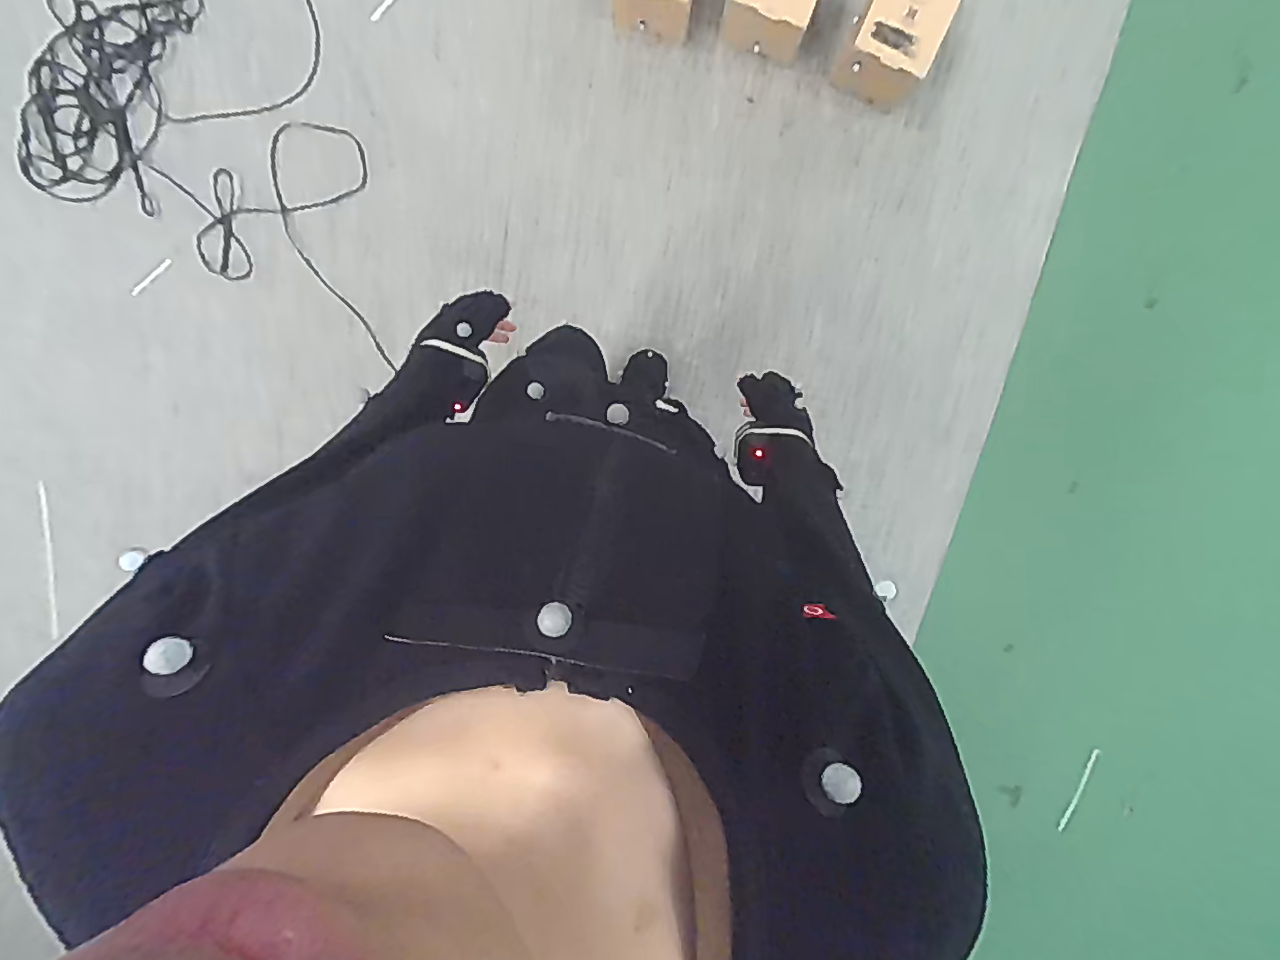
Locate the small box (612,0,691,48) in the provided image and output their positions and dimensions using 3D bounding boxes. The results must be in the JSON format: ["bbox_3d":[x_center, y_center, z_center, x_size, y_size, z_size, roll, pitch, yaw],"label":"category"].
[{"bbox_3d":[0.032,-1.079,1.152,0.168,0.176,0.179,11,103,-2],"label":"small box"}]

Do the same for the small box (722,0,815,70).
[{"bbox_3d":[0.285,-1.038,1.157,0.168,0.176,0.179,19,103,-3],"label":"small box"}]
